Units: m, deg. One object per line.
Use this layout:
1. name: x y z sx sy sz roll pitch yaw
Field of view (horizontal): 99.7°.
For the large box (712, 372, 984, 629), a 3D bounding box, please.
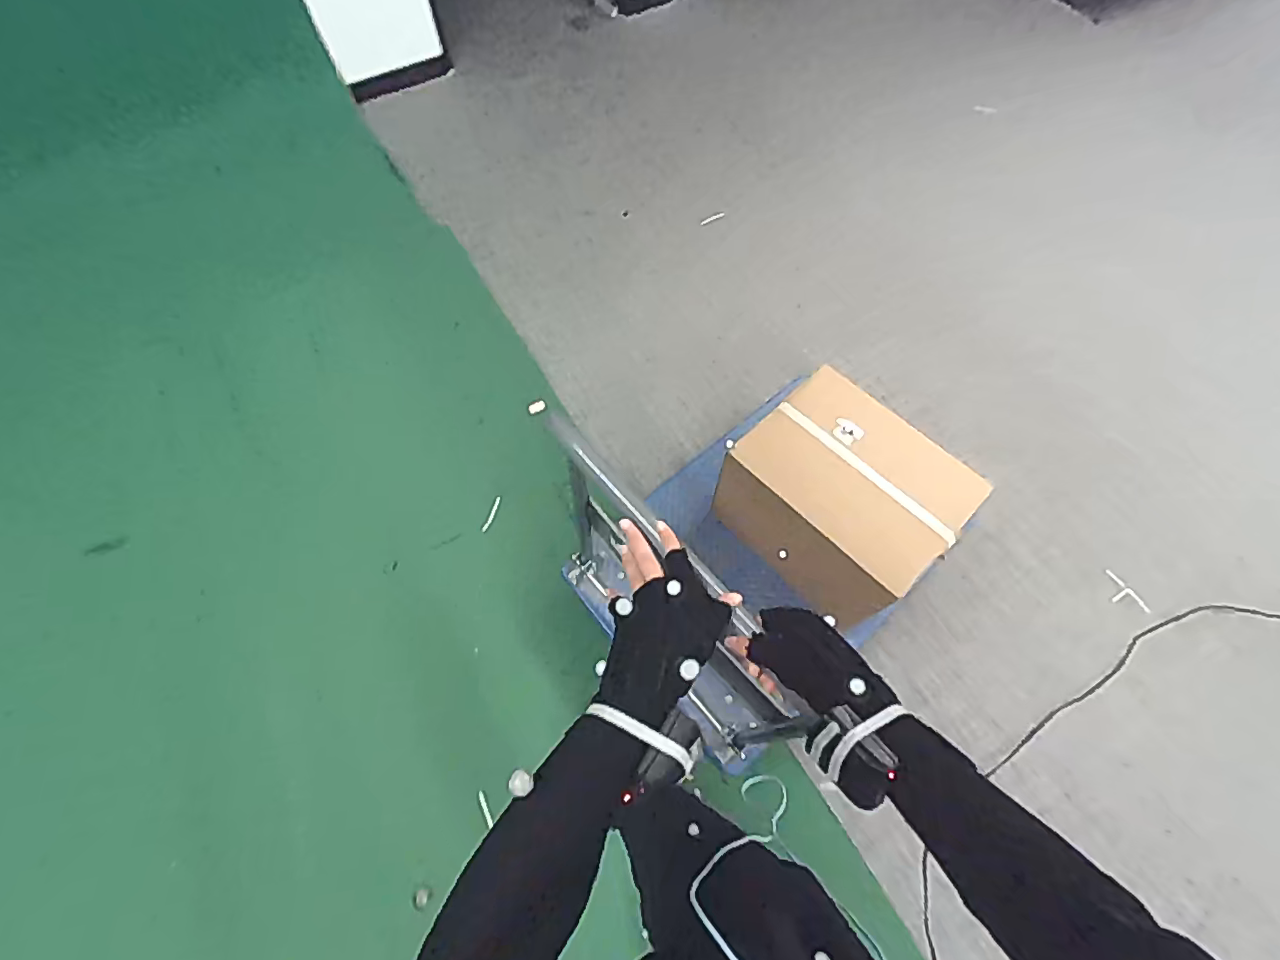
1. large box: 0.416 0.052 1.181 0.320 0.320 0.408 -40 69 -19
